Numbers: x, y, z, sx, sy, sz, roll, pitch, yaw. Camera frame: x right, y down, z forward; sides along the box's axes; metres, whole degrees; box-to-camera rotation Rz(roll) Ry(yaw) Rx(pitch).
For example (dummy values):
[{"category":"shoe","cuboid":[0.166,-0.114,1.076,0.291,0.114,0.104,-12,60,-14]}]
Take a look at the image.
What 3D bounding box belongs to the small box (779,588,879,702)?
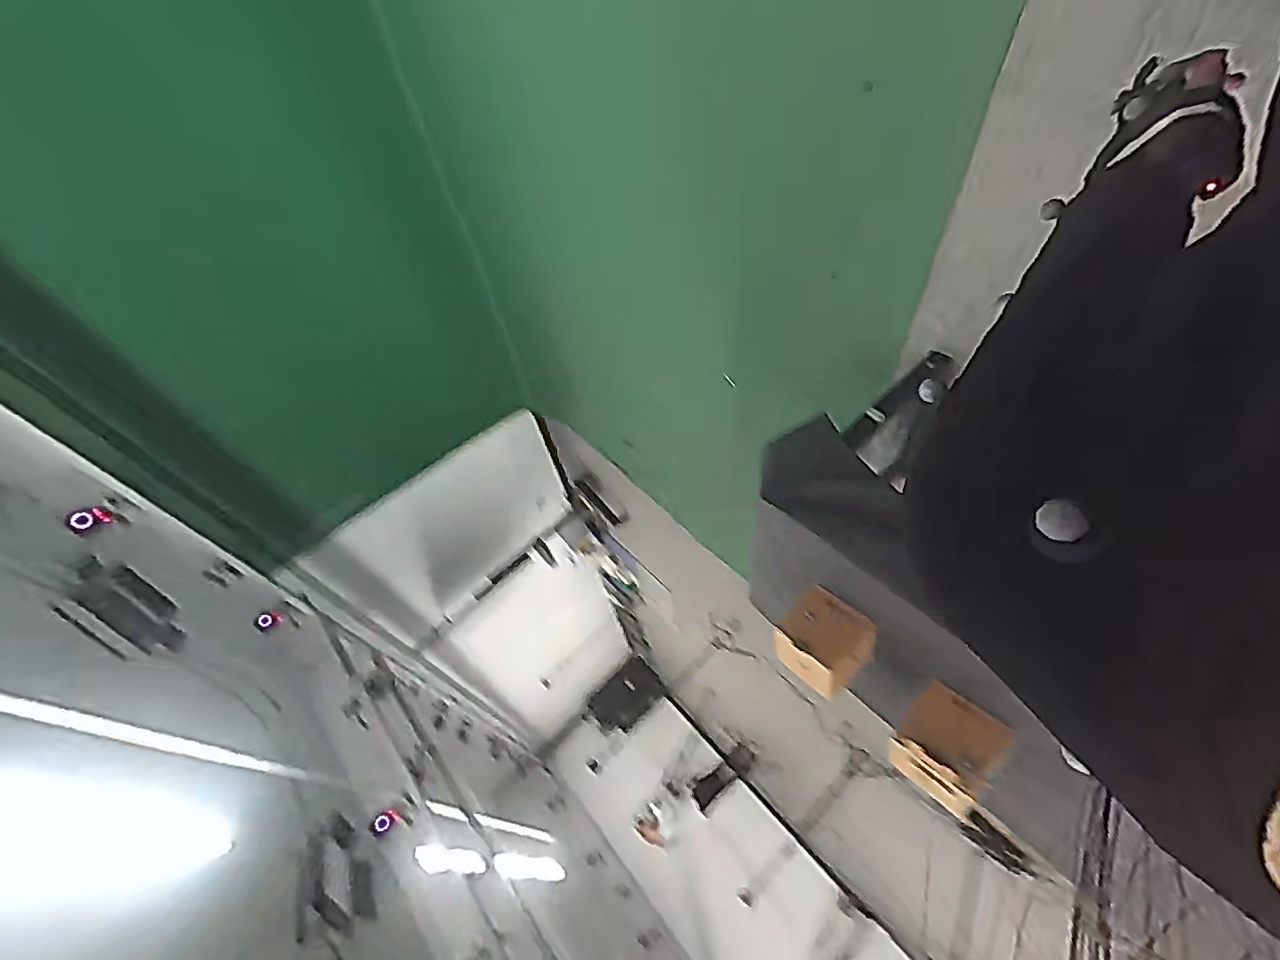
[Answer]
[{"category":"small box","cuboid":[0.465,0.399,1.328,0.168,0.176,0.179,36,157,41]}]
